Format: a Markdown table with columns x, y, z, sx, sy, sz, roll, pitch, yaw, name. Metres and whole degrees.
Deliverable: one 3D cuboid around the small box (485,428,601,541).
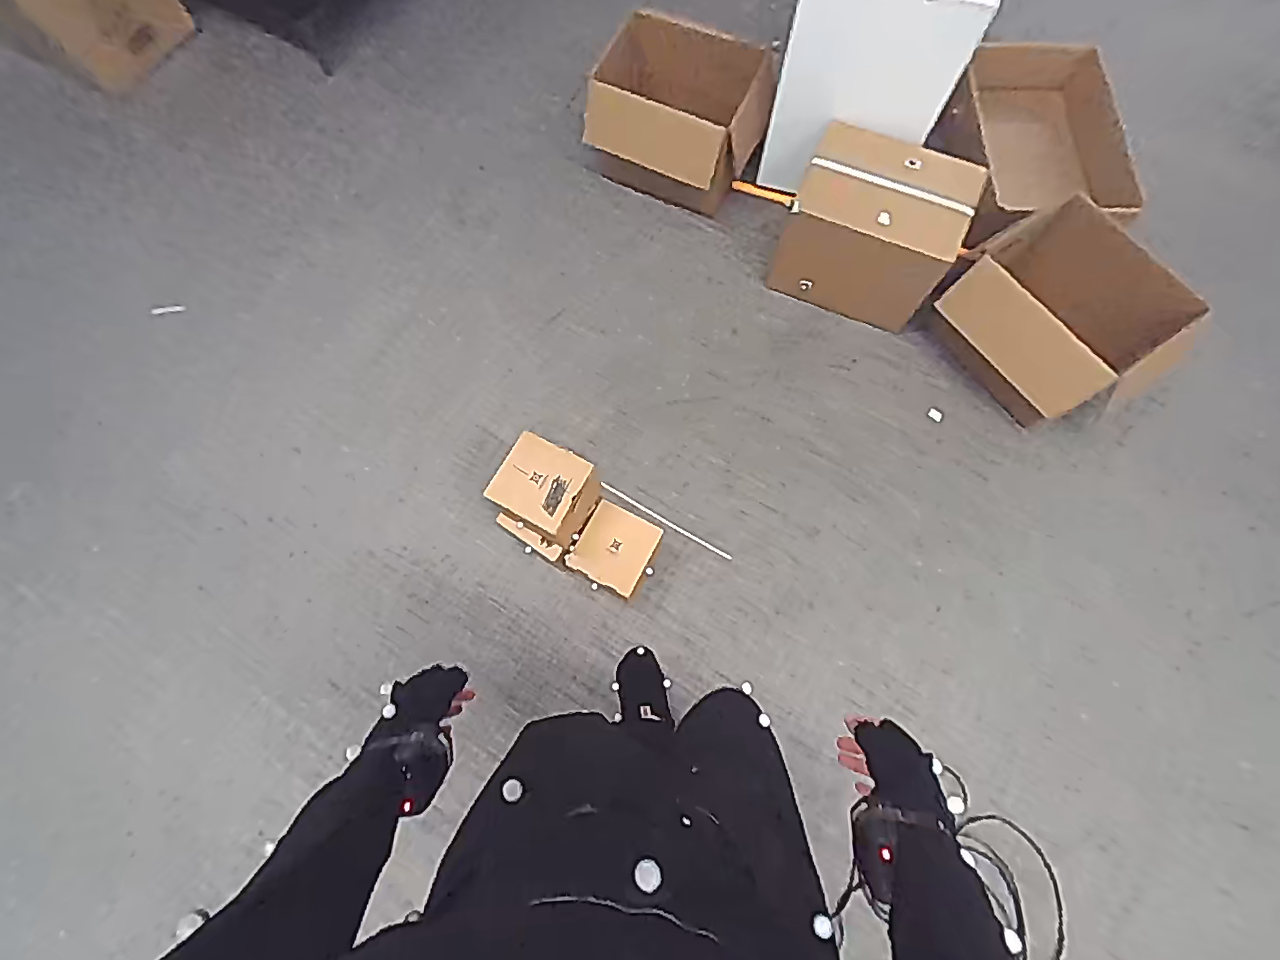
| x | y | z | sx | sy | sz | roll | pitch | yaw | name |
| --- | --- | --- | --- | --- | --- | --- | --- | --- | --- |
| -0.199 | 0.019 | 1.175 | 0.179 | 0.176 | 0.168 | 28 | 75 | 10 | small box |
